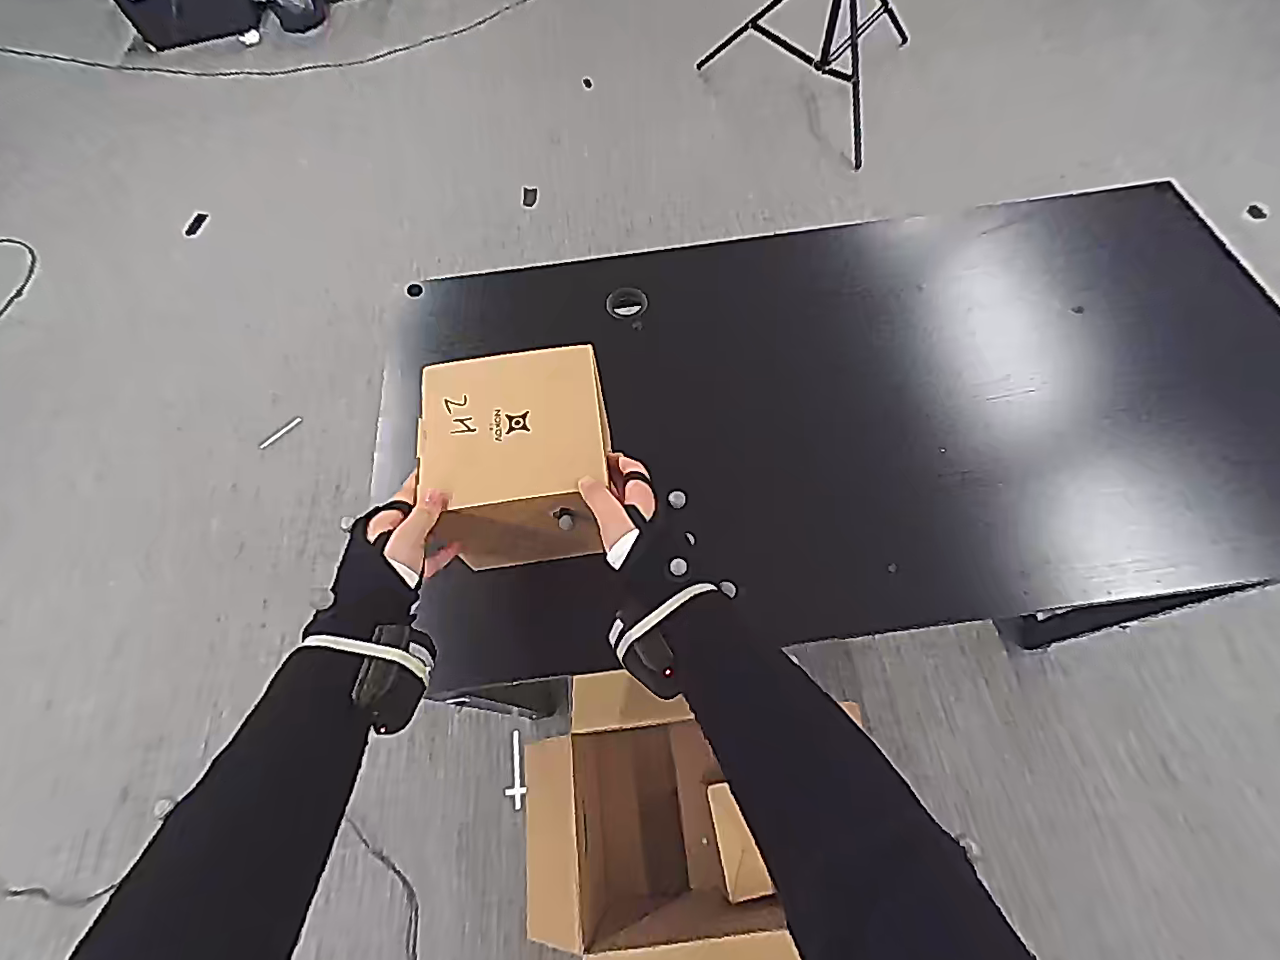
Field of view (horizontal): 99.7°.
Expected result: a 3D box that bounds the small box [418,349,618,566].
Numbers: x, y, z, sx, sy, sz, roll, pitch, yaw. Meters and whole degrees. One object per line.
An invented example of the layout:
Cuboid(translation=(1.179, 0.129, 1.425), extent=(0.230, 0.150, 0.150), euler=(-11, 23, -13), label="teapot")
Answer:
Cuboid(translation=(-0.119, -0.016, 0.588), extent=(0.179, 0.176, 0.168), euler=(-8, 63, -1), label="small box")
